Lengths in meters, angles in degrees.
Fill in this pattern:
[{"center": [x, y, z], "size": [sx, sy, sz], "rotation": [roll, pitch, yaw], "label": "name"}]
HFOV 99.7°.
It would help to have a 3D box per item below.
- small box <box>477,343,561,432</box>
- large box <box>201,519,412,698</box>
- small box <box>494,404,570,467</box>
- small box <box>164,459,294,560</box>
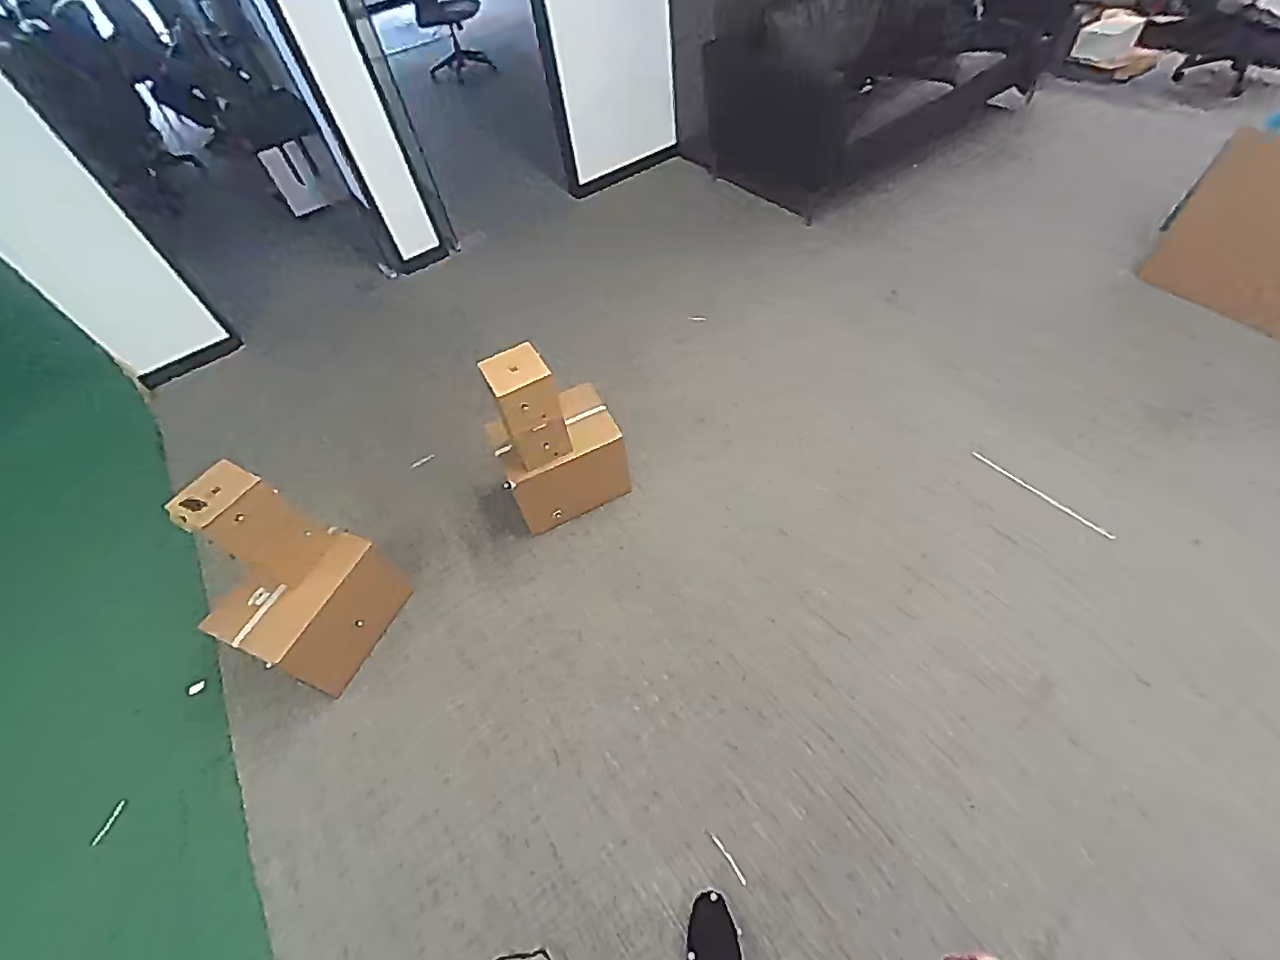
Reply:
[{"center": [-0.351, -0.264, 1.593], "size": [0.168, 0.176, 0.179], "rotation": [-28, 54, -13], "label": "small box"}, {"center": [-1.004, 0.395, 1.686], "size": [0.320, 0.320, 0.408], "rotation": [14, 57, 18], "label": "large box"}, {"center": [-0.339, -0.165, 1.723], "size": [0.168, 0.176, 0.179], "rotation": [-27, 55, -14], "label": "small box"}, {"center": [-1.062, 0.081, 1.414], "size": [0.168, 0.176, 0.179], "rotation": [21, 58, 22], "label": "small box"}]
